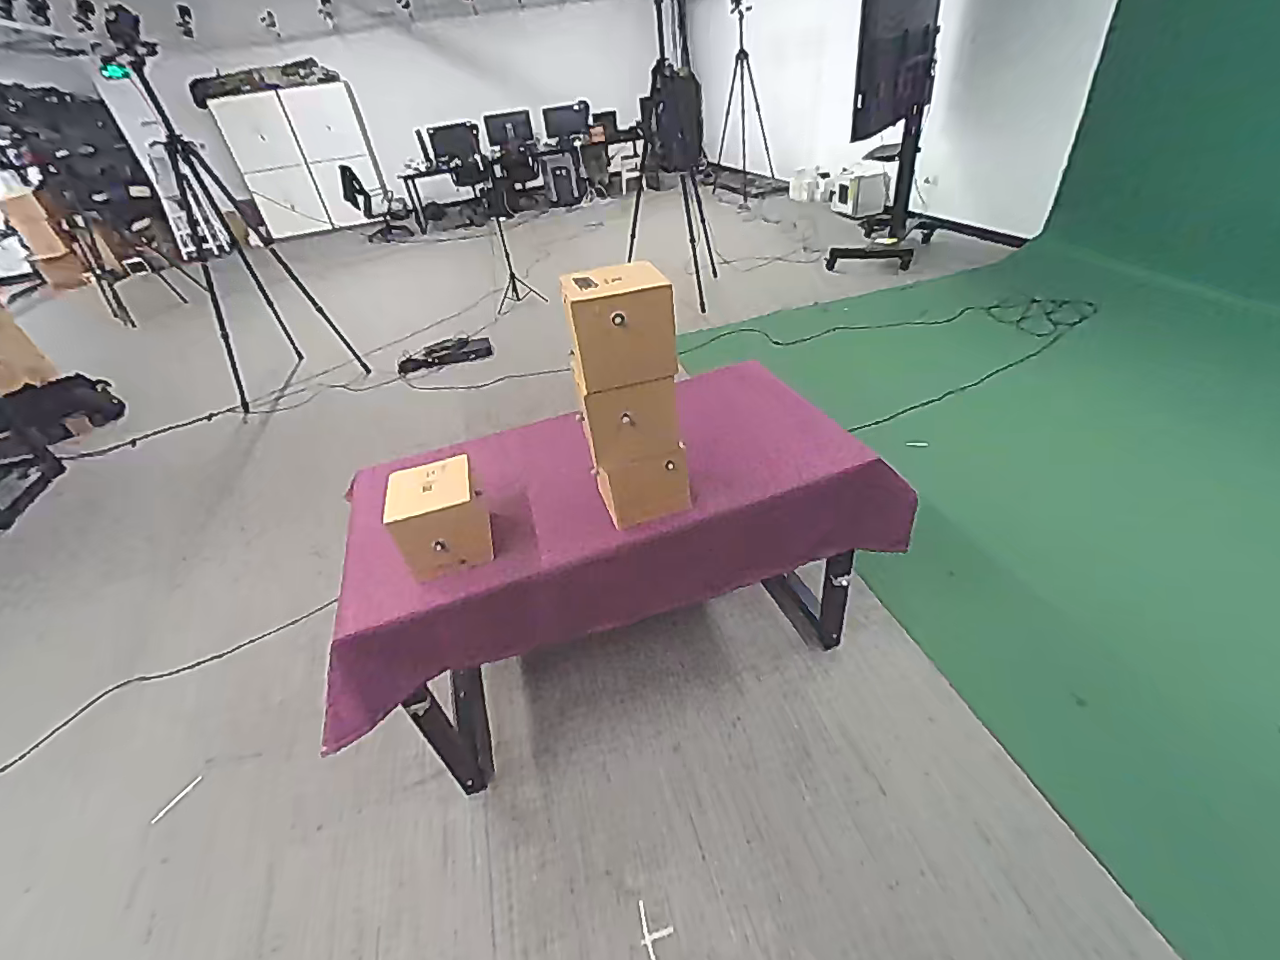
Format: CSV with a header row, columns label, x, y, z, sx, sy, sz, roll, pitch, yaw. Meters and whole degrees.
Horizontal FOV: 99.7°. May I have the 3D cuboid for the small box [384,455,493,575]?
label,x,y,z,sx,sy,sz,roll,pitch,yaw
small box,-0.414,0.078,1.134,0.168,0.176,0.179,-15,37,-9

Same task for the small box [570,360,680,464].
label,x,y,z,sx,sy,sz,roll,pitch,yaw
small box,-0.030,-0.152,1.085,0.179,0.176,0.168,-14,38,-6

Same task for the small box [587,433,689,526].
label,x,y,z,sx,sy,sz,roll,pitch,yaw
small box,-0.002,-0.024,1.185,0.179,0.176,0.168,-16,38,-10

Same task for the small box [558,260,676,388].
label,x,y,z,sx,sy,sz,roll,pitch,yaw
small box,-0.041,-0.284,0.986,0.179,0.176,0.168,-13,37,-7
